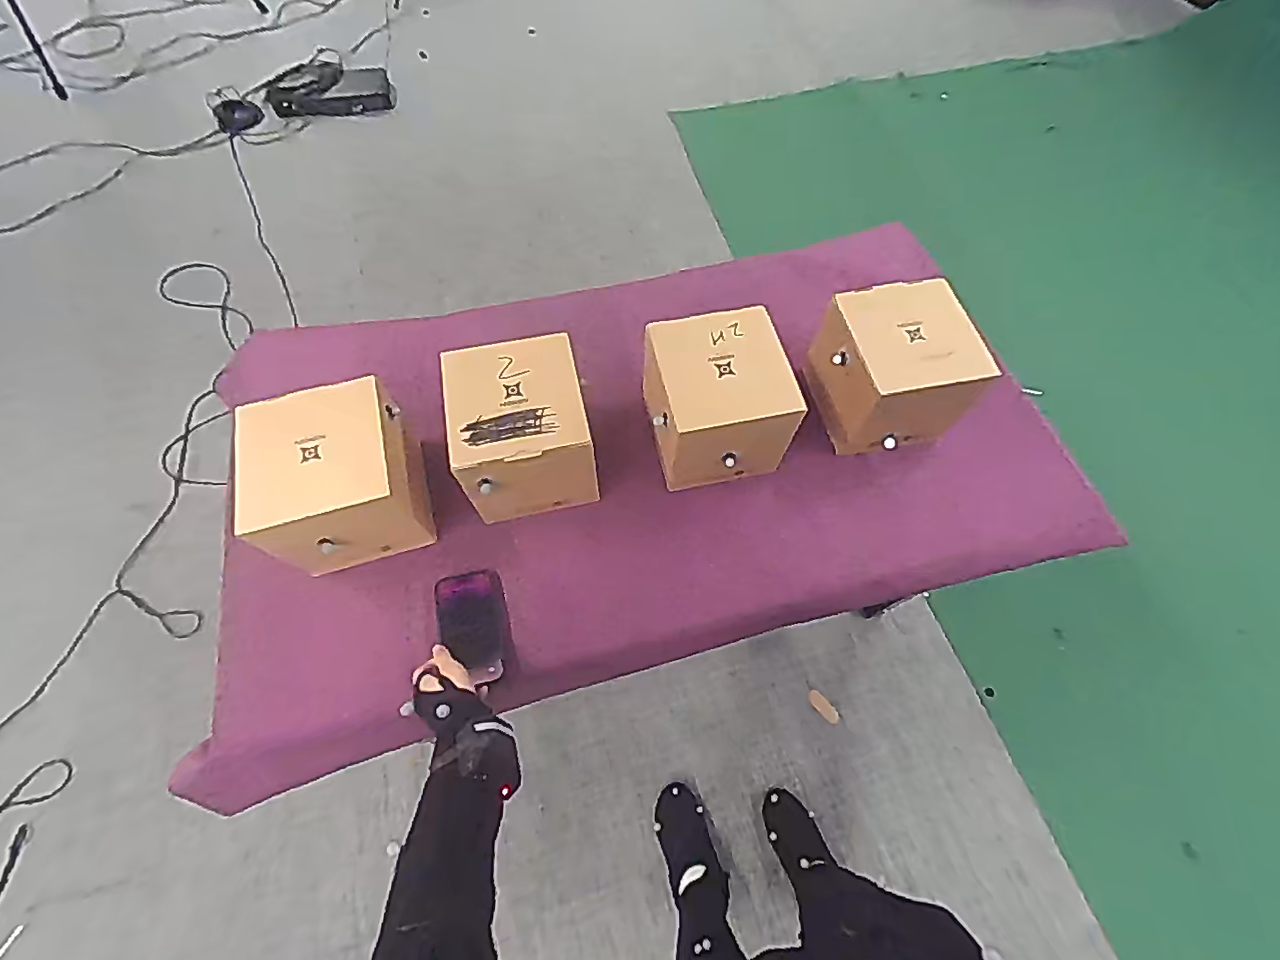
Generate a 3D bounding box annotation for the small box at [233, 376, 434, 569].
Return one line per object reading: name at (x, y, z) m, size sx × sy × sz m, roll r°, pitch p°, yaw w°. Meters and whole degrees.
small box at (-0.381, 0.001, 0.694) m, size 0.168 × 0.176 × 0.179 m, roll -16°, pitch 64°, yaw -8°

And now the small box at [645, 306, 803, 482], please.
small box at (0.104, -0.110, 0.755) m, size 0.168 × 0.176 × 0.179 m, roll -10°, pitch 64°, yaw -6°

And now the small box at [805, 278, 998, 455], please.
small box at (0.358, -0.159, 0.784) m, size 0.168 × 0.176 × 0.179 m, roll -10°, pitch 64°, yaw -4°
